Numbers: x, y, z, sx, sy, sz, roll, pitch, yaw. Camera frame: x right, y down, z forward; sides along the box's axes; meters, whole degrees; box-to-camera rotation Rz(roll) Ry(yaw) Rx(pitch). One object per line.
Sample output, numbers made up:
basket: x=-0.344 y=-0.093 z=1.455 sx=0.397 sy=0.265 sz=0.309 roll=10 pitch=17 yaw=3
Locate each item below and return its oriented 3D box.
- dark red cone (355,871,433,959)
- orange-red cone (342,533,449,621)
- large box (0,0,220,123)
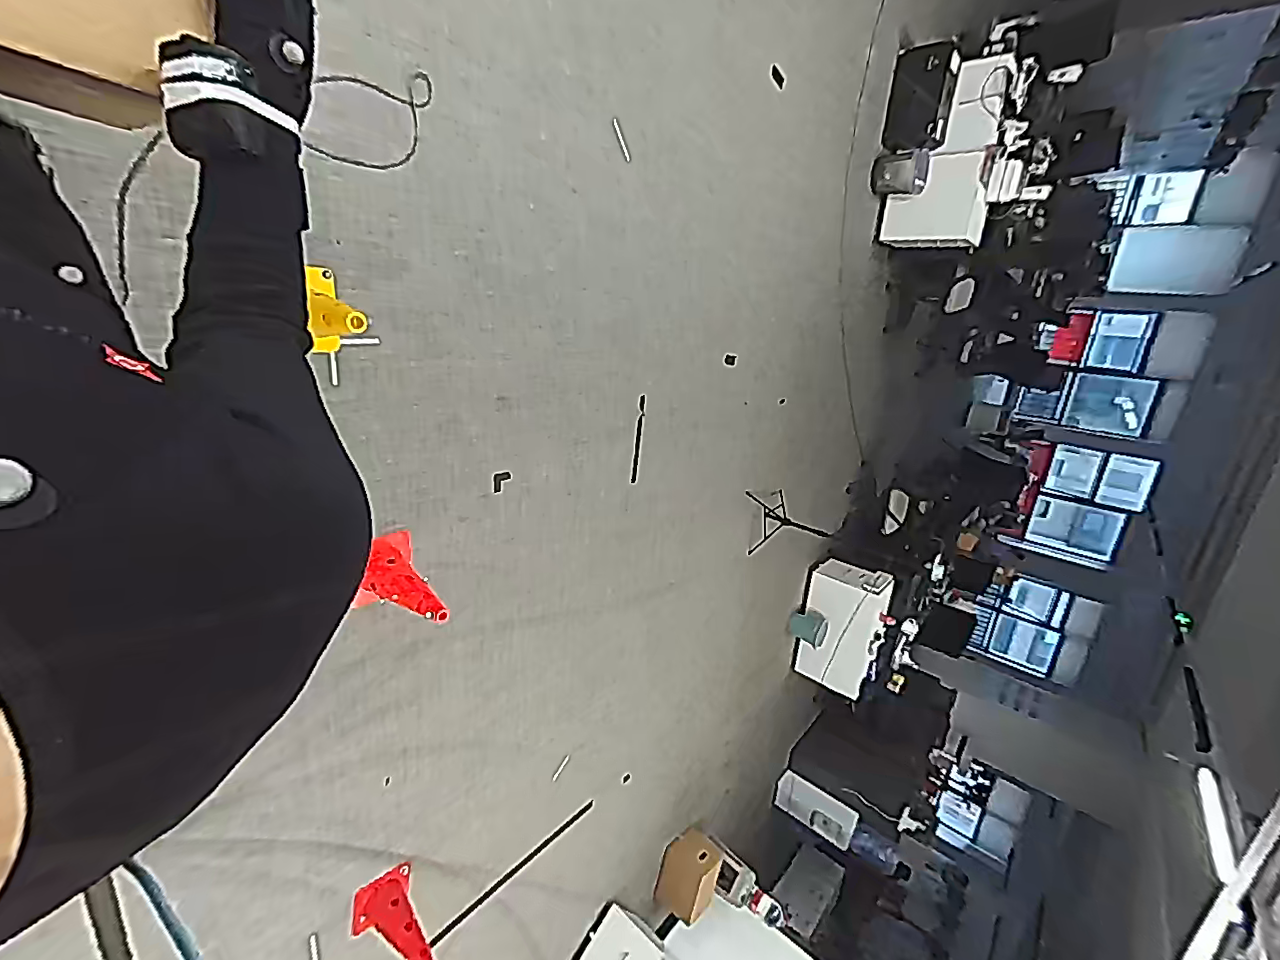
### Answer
dark red cone: x=-0.790 y=1.563 z=1.828 sx=0.201 sy=0.394 sz=0.202 roll=-6 pitch=109 yaw=-49
orange-red cone: x=-0.650 y=0.309 z=1.512 sx=0.198 sy=0.360 sz=0.199 roll=-19 pitch=118 yaw=-48
large box: x=-0.529 y=-0.447 z=0.295 sx=0.408 sy=0.320 sz=0.320 roll=-11 pitch=118 yaw=-51
